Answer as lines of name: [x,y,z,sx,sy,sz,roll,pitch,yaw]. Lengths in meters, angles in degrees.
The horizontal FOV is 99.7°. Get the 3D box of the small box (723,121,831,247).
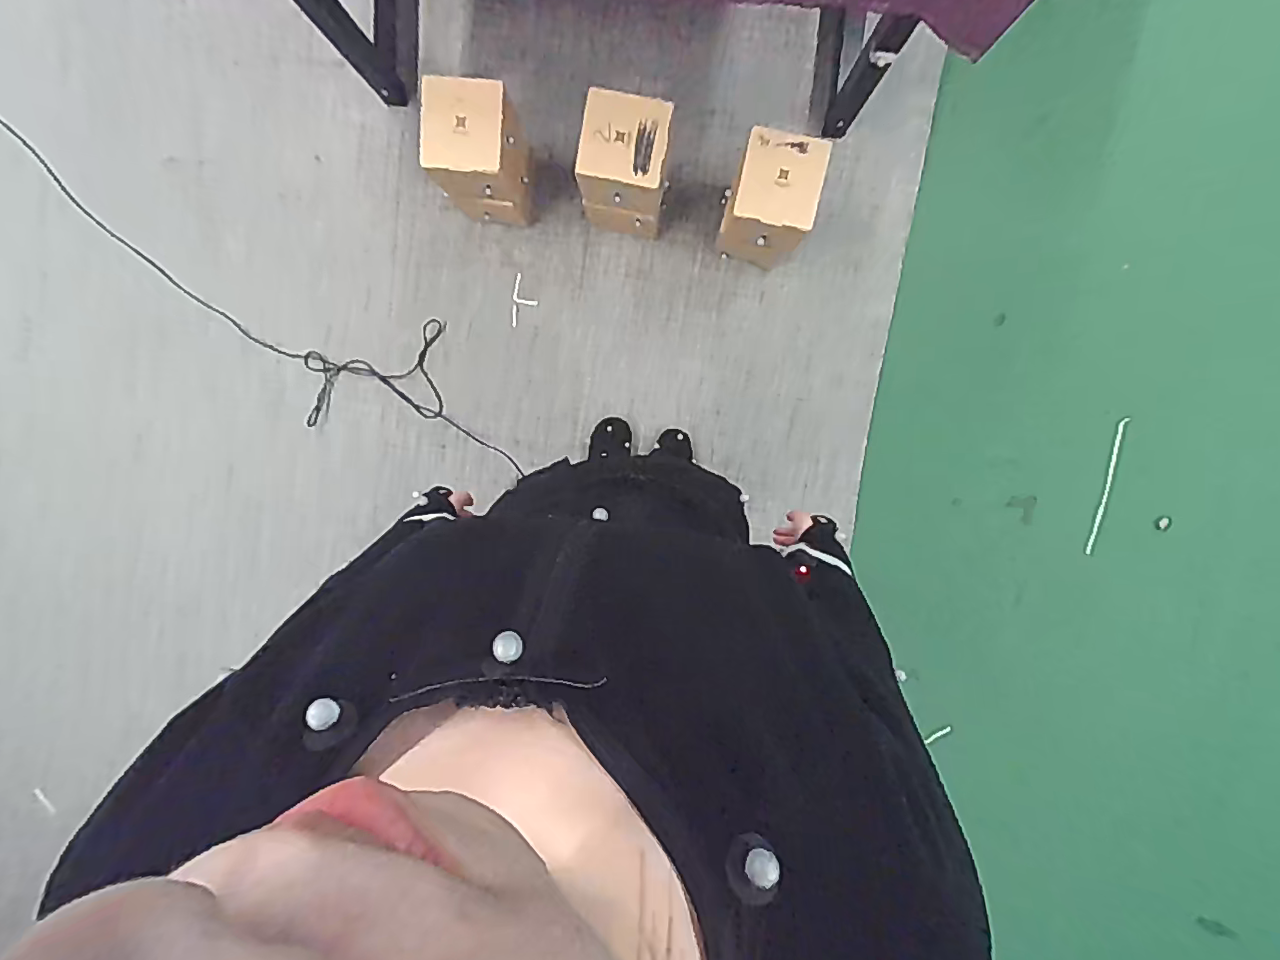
small box: [0.282,-0.621,1.159,0.168,0.176,0.179,13,100,-2]

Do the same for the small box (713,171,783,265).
small box: [0.284,-0.650,1.323,0.168,0.176,0.179,17,97,-1]
